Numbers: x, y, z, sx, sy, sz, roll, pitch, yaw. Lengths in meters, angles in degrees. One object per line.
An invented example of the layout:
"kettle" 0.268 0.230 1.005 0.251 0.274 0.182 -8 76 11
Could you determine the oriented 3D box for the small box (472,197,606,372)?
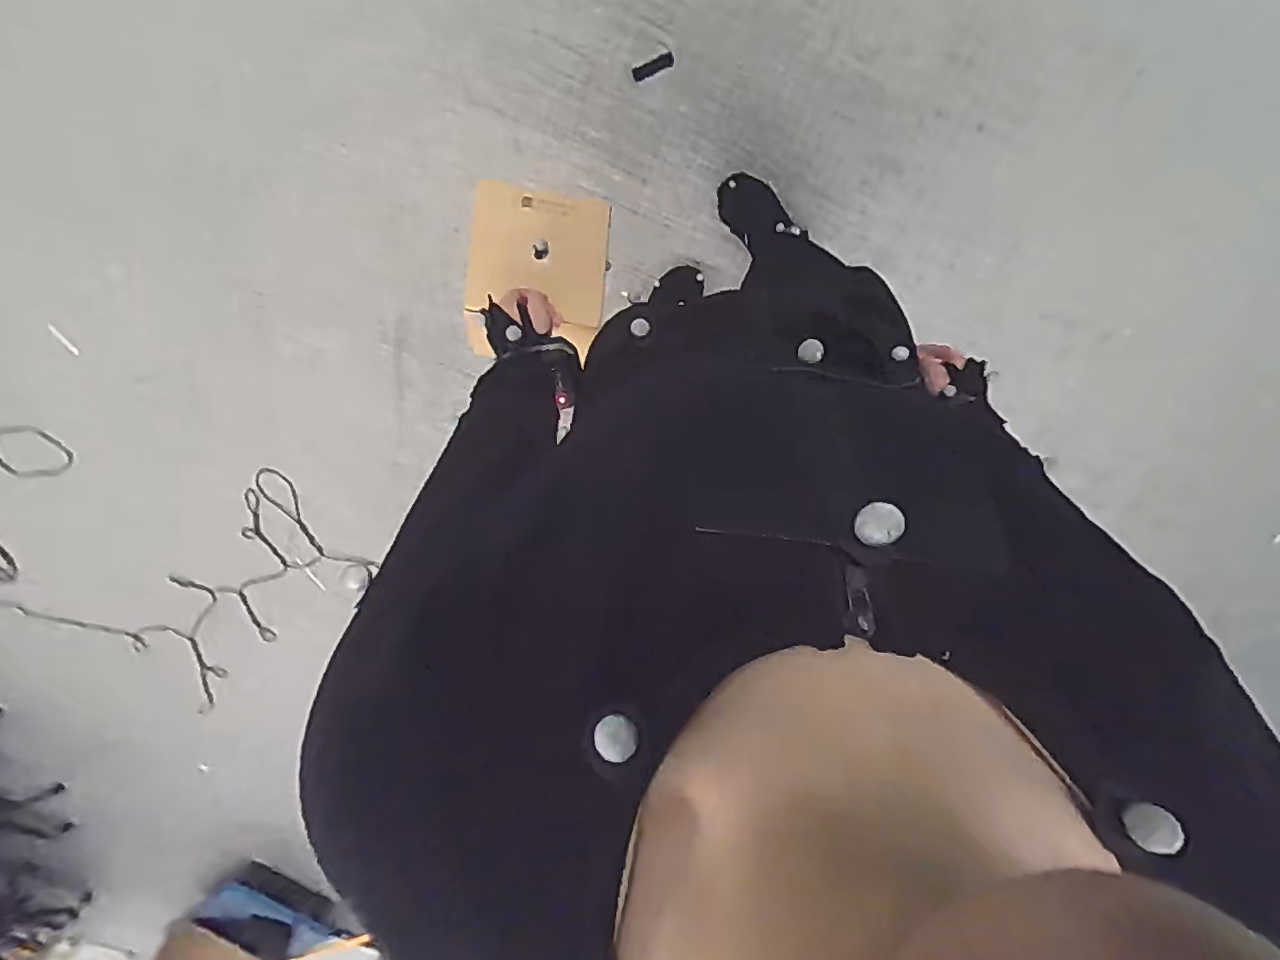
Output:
"small box" -0.140 -0.261 0.751 0.168 0.179 0.176 3 84 -12
